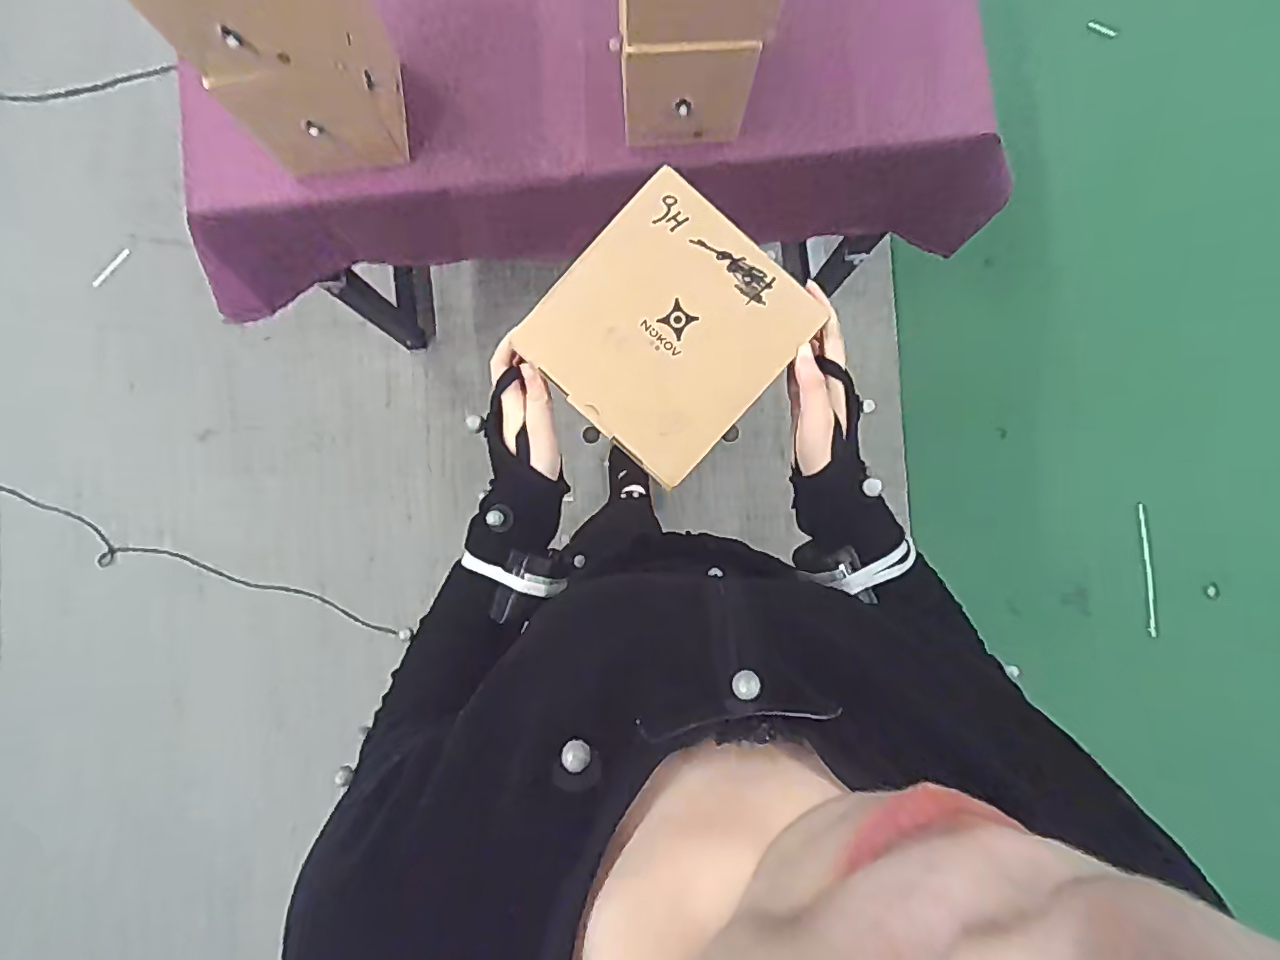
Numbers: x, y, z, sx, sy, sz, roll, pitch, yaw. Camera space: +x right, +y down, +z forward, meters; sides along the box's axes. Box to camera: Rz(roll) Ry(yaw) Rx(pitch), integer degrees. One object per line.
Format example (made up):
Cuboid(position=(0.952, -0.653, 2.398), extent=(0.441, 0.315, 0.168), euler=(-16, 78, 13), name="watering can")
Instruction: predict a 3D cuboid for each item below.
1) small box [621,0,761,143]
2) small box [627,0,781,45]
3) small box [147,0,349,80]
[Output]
Cuboid(position=(0.060, -0.586, 0.730), extent=(0.168, 0.176, 0.179), euler=(-3, 86, -2), name="small box")
Cuboid(position=(0.071, -0.600, 0.566), extent=(0.179, 0.176, 0.168), euler=(-2, 87, -2), name="small box")
Cuboid(position=(-0.425, -0.561, 0.555), extent=(0.168, 0.176, 0.179), euler=(-6, 87, -1), name="small box")
